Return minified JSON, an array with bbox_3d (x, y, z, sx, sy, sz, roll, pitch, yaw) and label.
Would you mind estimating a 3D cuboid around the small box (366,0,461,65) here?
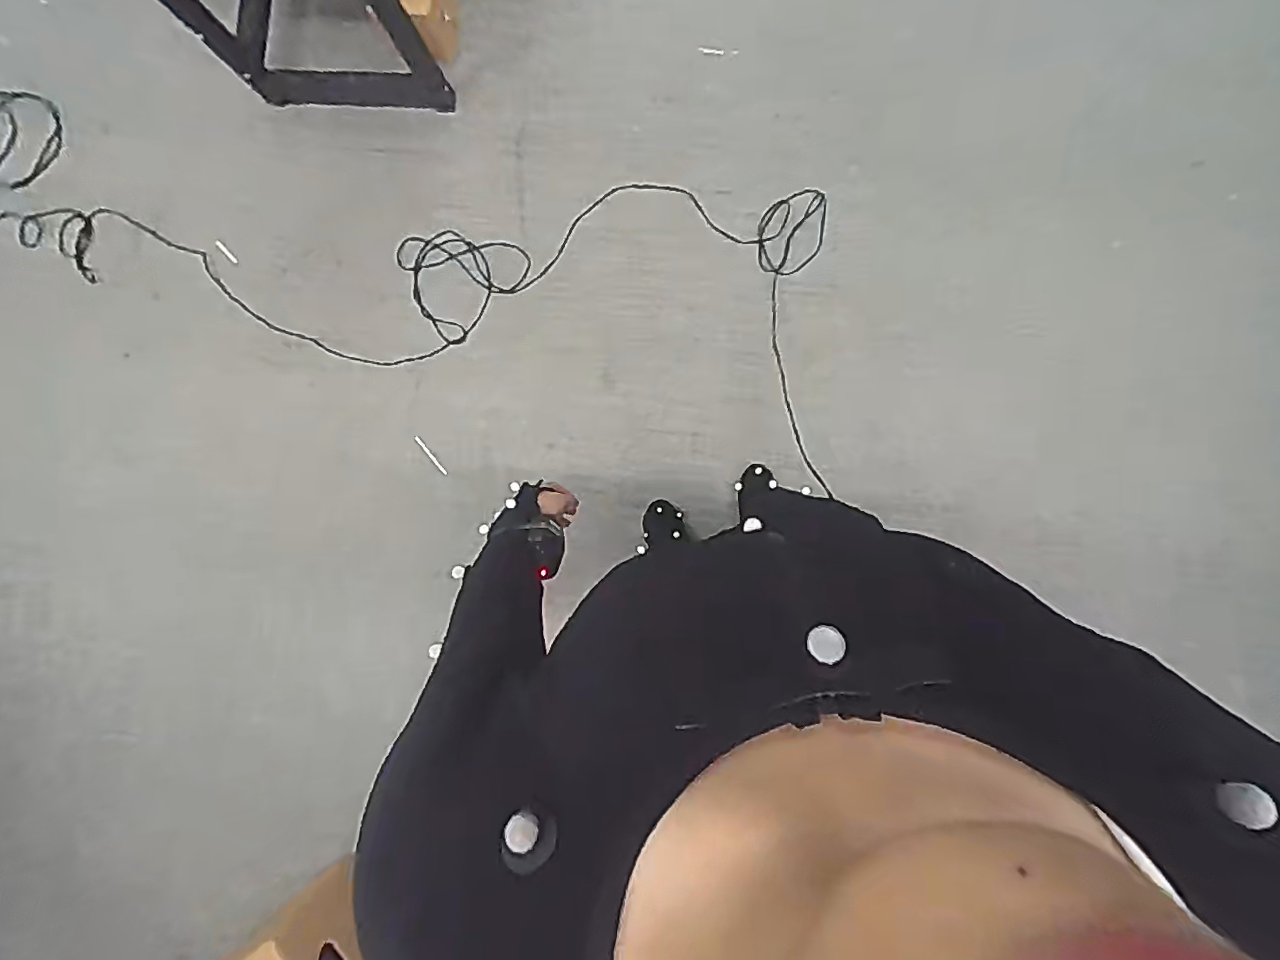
[{"bbox_3d":[-0.618,-1.295,1.497,0.179,0.176,0.168,10,90,5],"label":"small box"}]
